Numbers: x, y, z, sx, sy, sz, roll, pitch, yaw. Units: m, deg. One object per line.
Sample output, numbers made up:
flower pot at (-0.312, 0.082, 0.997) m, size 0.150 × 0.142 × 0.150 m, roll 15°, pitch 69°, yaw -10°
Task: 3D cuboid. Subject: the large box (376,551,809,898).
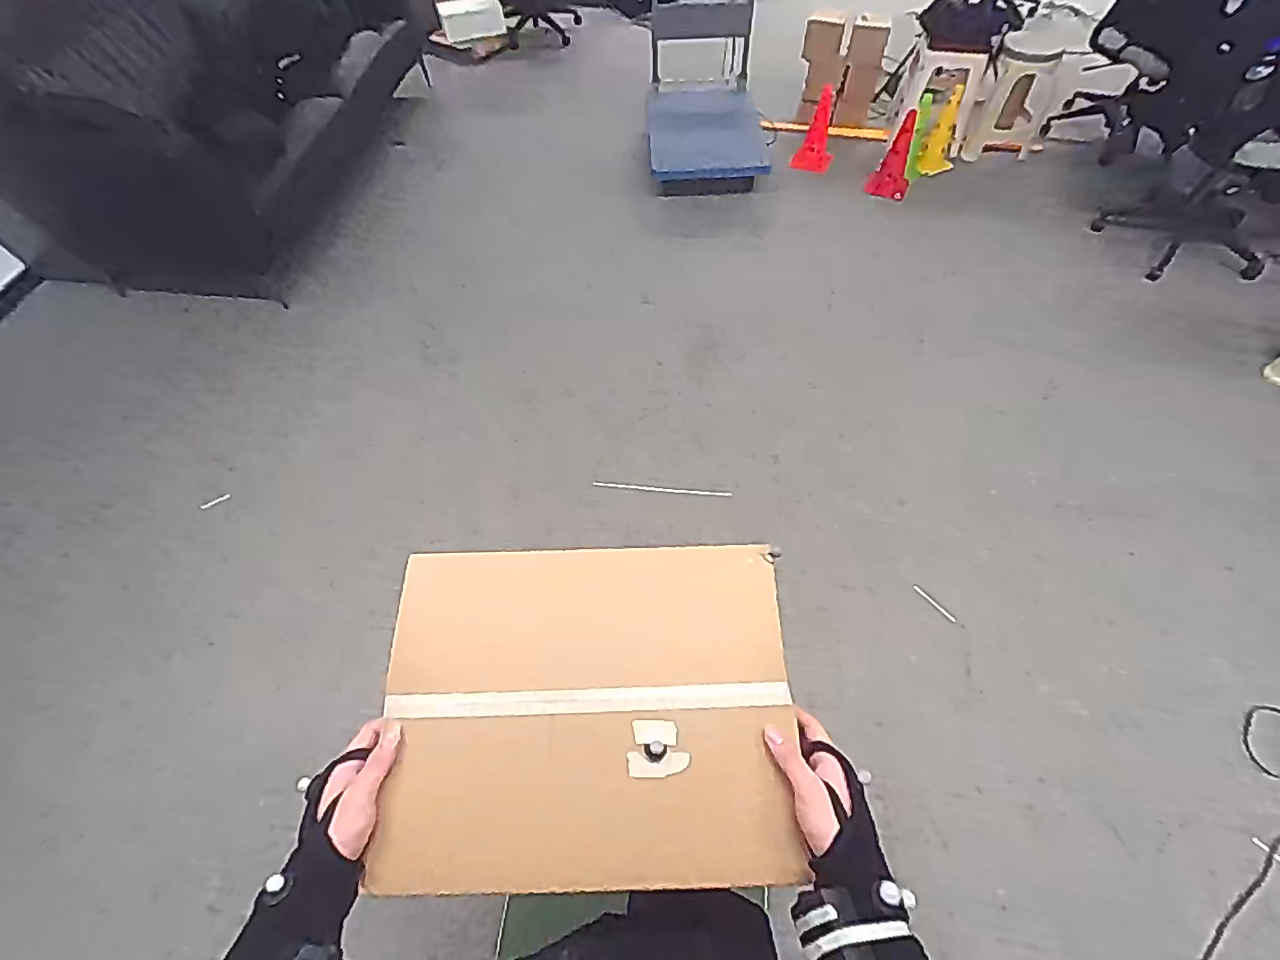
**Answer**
large box at (-0.050, 0.292, 0.686) m, size 0.408 × 0.320 × 0.320 m, roll -2°, pitch 65°, yaw -1°
